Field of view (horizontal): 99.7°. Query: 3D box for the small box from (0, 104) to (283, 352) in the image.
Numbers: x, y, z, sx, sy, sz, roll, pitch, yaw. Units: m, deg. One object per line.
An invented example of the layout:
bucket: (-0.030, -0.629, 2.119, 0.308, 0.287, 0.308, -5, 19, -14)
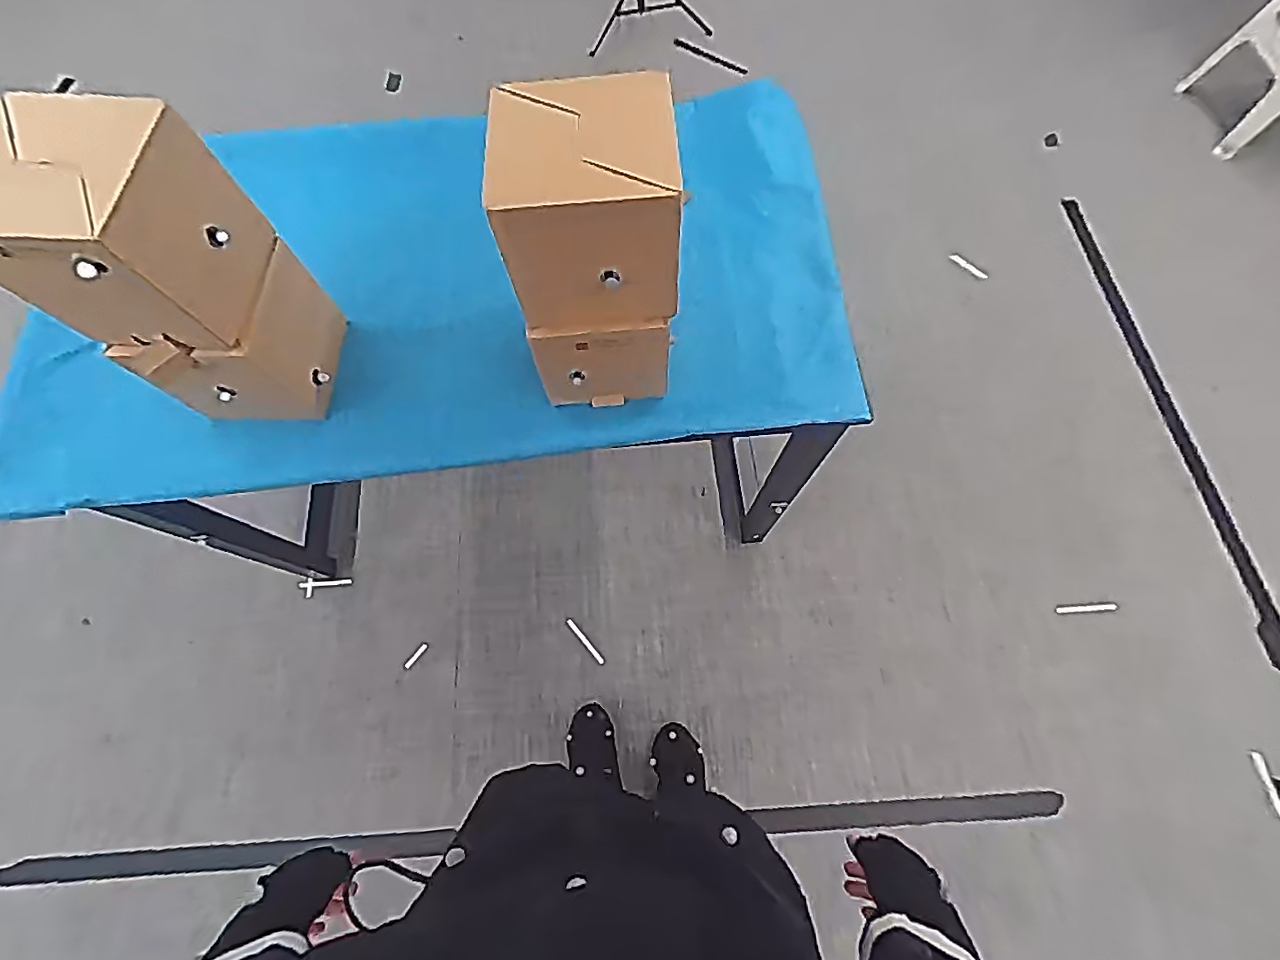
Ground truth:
small box: (-0.532, -0.258, 0.573, 0.168, 0.176, 0.179, 4, 71, 2)

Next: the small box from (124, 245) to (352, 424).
small box: (-0.522, -0.190, 0.723, 0.168, 0.176, 0.179, 0, 70, 0)

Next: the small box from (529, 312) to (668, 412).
small box: (-0.053, -0.214, 0.729, 0.168, 0.176, 0.179, -5, 68, -1)

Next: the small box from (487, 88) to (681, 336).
small box: (-0.050, -0.279, 0.579, 0.179, 0.176, 0.168, -4, 67, 2)
